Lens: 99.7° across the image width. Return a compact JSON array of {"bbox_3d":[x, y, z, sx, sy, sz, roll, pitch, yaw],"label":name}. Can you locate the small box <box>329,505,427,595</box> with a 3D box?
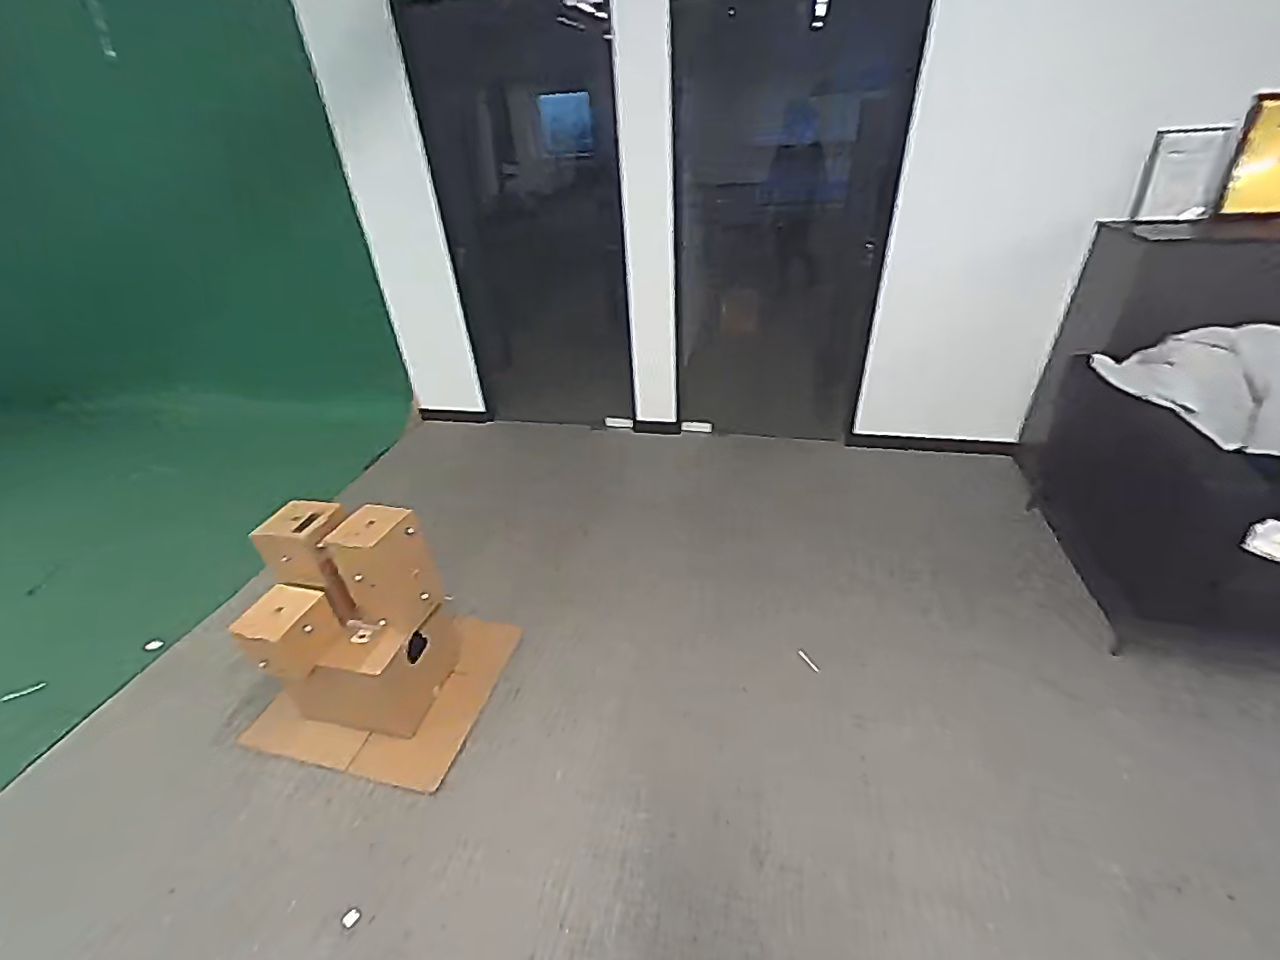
[{"bbox_3d":[-0.730,0.196,1.535,0.168,0.176,0.179,6,34,18],"label":"small box"}]

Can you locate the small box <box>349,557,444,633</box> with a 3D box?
[{"bbox_3d":[-0.722,0.338,1.624,0.179,0.176,0.168,5,34,17],"label":"small box"}]
